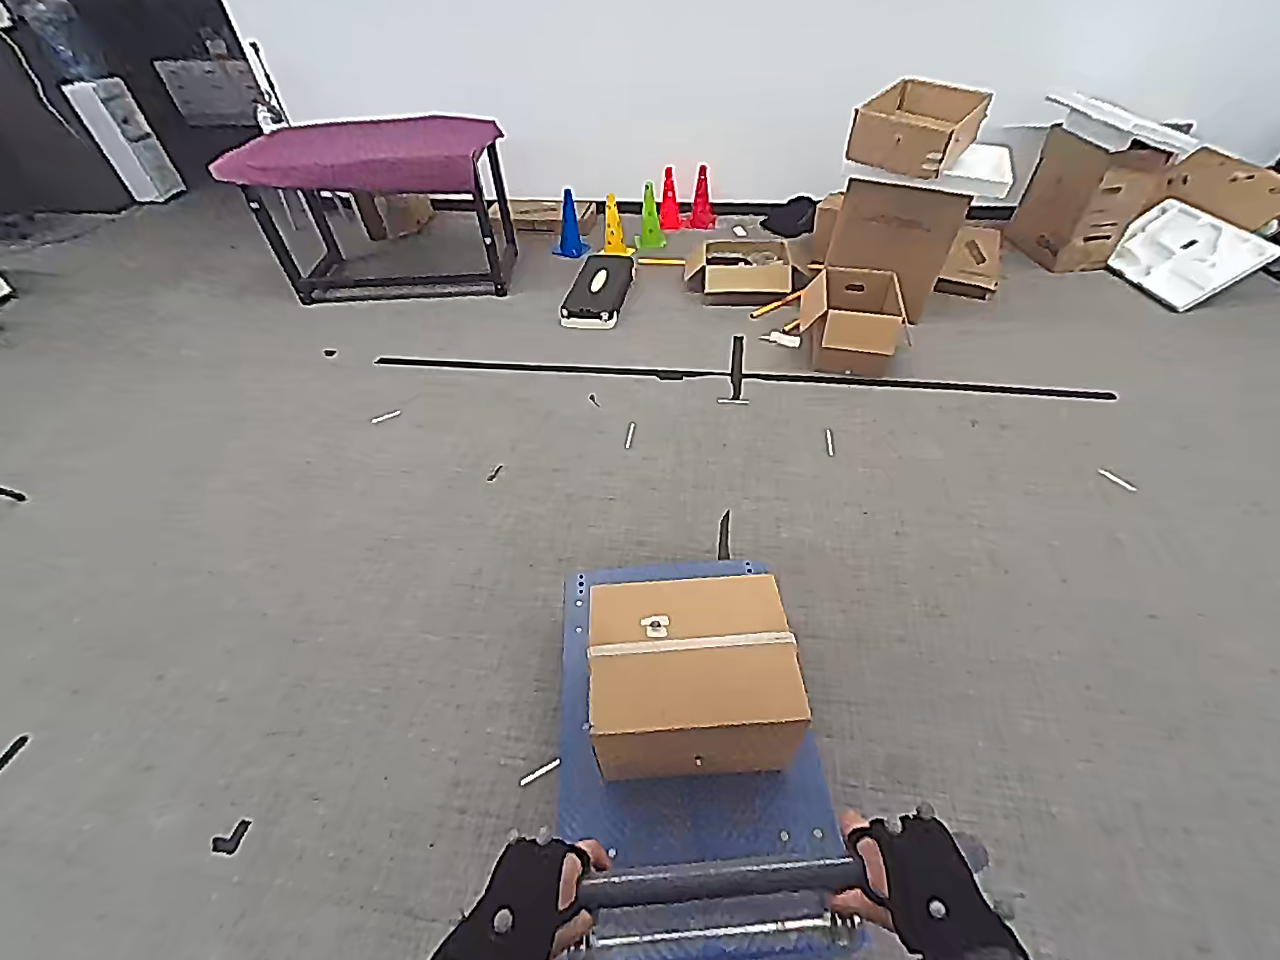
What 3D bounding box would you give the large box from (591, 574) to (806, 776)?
[{"bbox_3d":[0.110,0.439,1.206,0.408,0.320,0.320,-5,46,0],"label":"large box"}]
